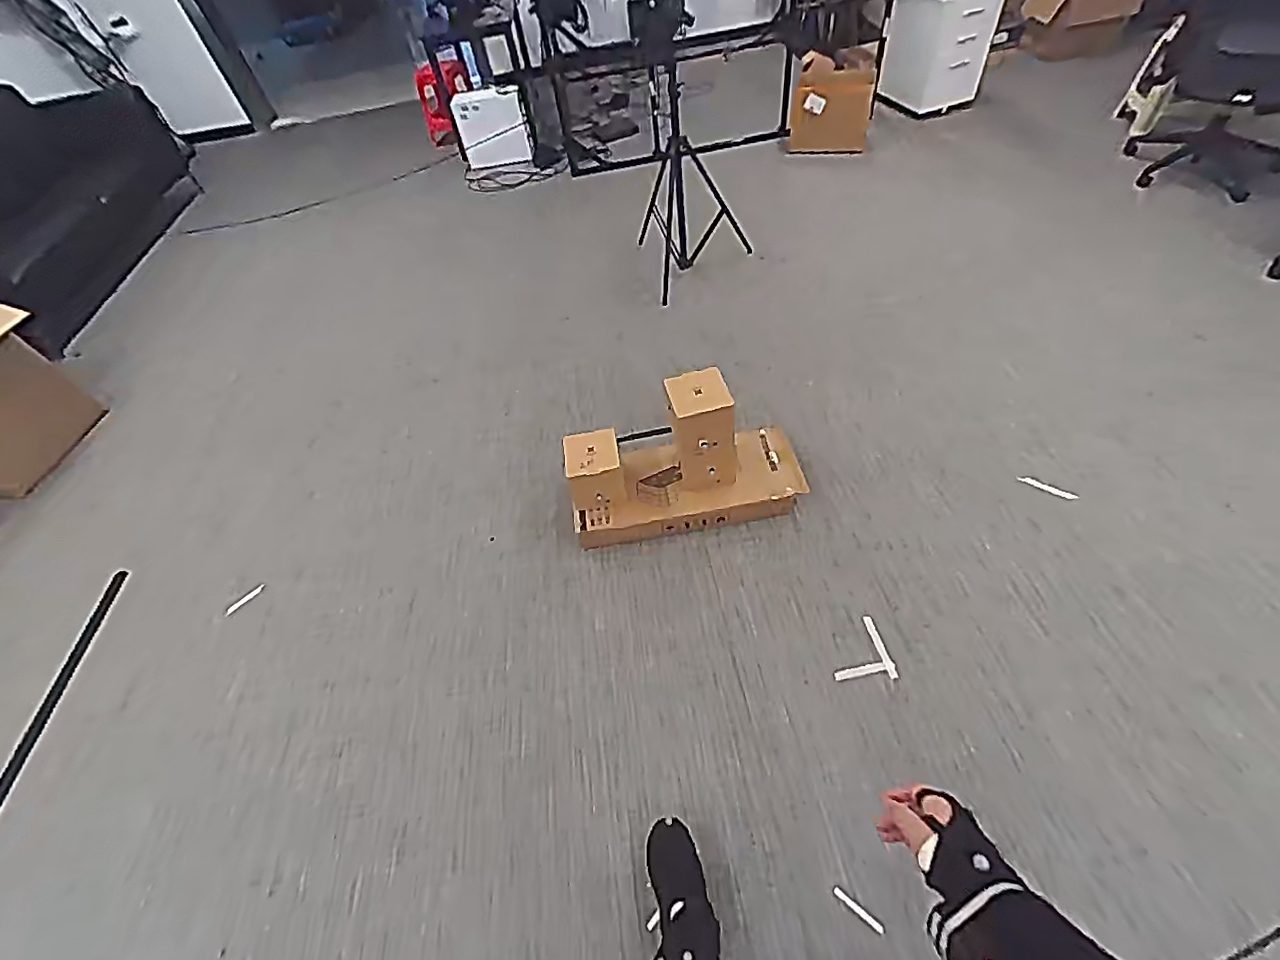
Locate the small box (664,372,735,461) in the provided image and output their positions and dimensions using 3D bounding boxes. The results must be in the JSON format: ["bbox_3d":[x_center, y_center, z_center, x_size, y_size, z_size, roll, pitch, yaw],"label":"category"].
[{"bbox_3d":[0.173,-0.185,1.586,0.168,0.176,0.179,-15,51,-2],"label":"small box"}]

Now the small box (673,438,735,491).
[{"bbox_3d":[0.202,-0.083,1.711,0.168,0.176,0.179,-12,51,-1],"label":"small box"}]
